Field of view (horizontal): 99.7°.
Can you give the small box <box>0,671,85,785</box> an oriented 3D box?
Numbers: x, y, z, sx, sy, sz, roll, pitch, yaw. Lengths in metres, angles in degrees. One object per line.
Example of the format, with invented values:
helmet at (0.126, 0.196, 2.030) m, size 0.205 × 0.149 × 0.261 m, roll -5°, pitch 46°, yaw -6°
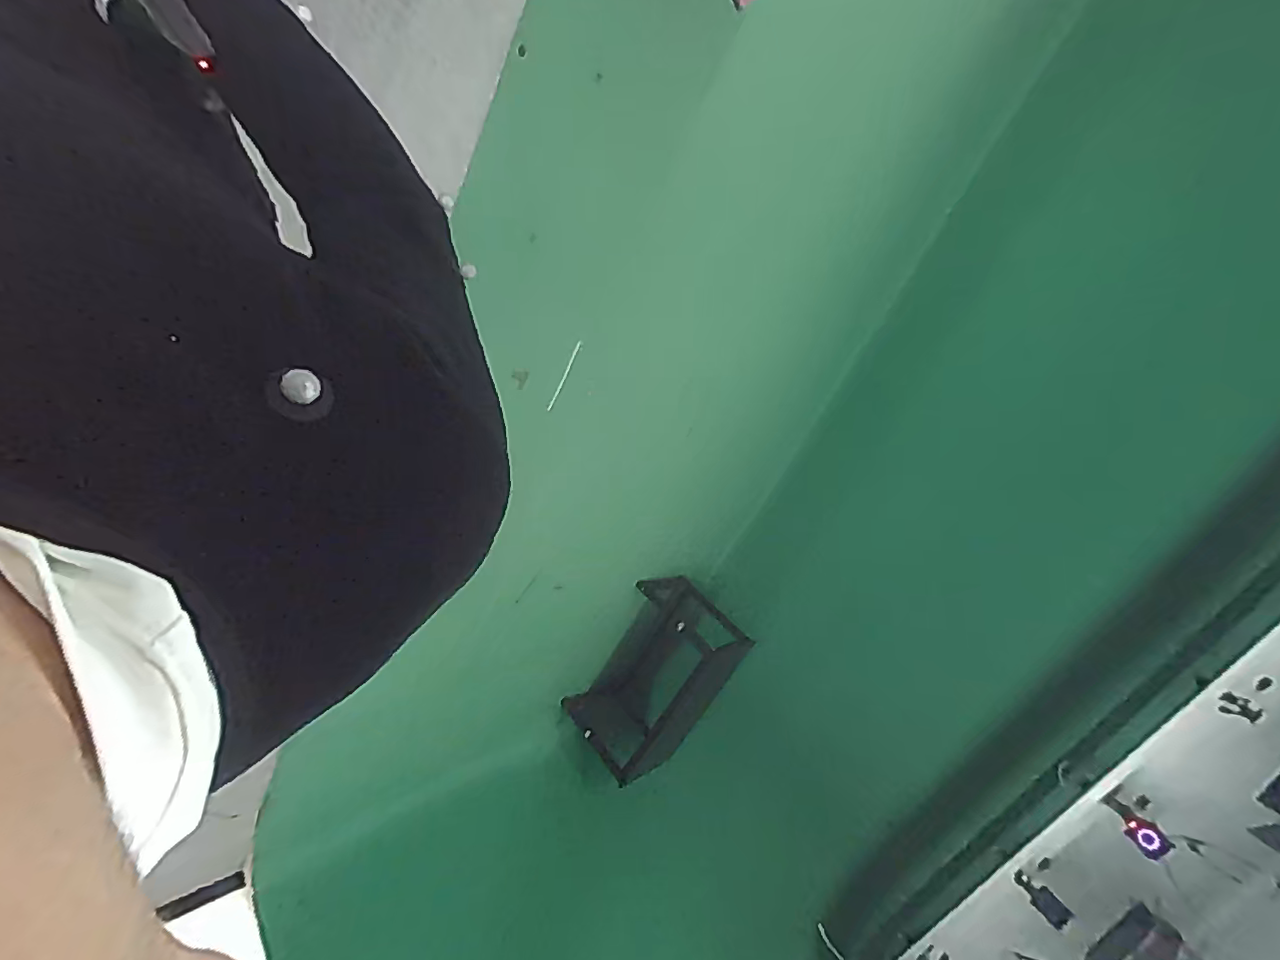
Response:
small box at (-1.472, 0.597, 1.305) m, size 0.168 × 0.176 × 0.179 m, roll 6°, pitch 119°, yaw -51°
